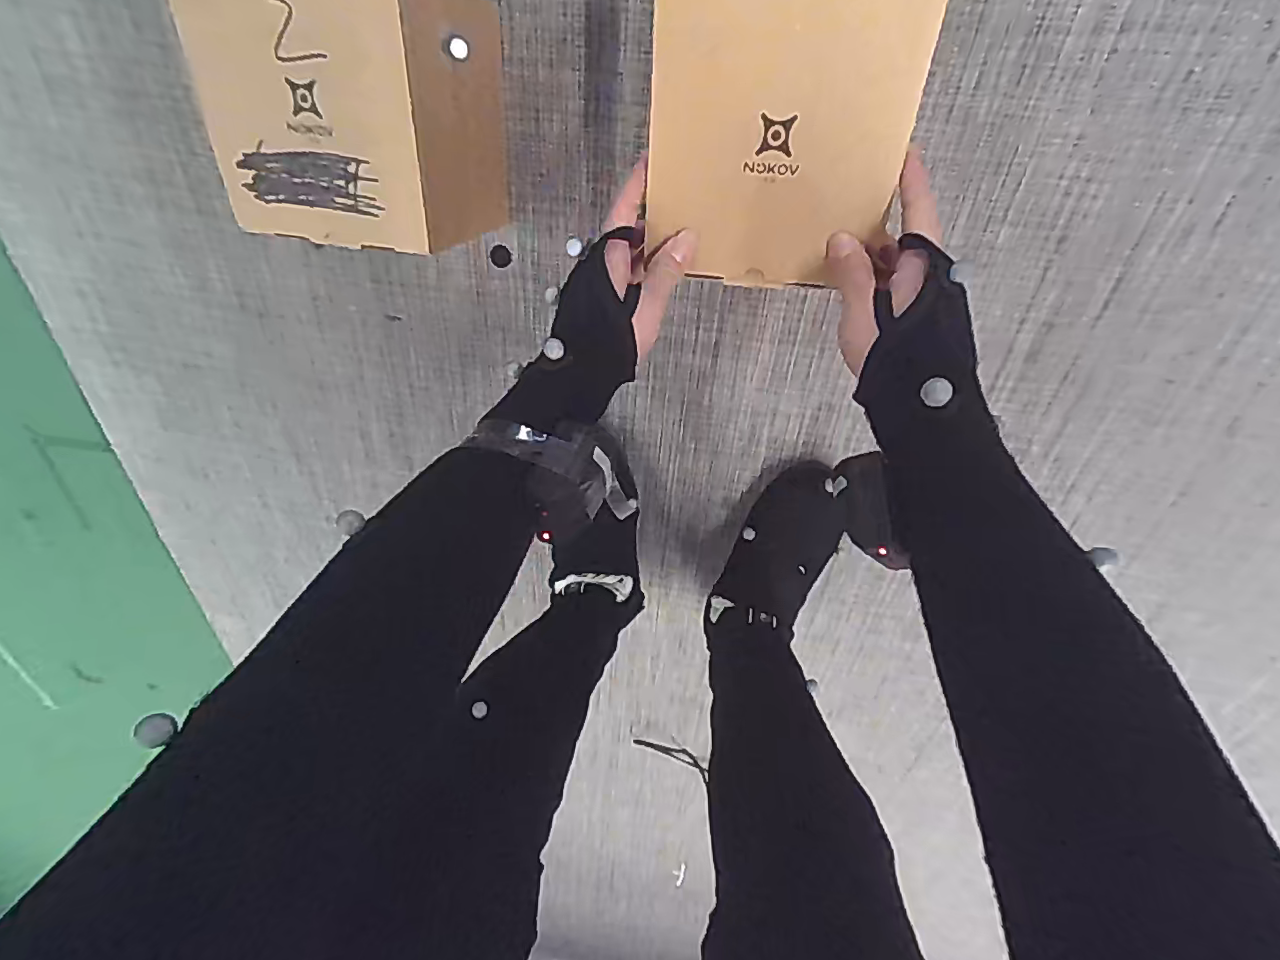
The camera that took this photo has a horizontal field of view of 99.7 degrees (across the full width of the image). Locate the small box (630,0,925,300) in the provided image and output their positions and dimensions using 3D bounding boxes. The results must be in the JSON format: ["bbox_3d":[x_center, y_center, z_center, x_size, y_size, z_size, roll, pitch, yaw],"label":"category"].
[{"bbox_3d":[0.088,-0.255,0.417,0.168,0.176,0.179,7,125,8],"label":"small box"}]
